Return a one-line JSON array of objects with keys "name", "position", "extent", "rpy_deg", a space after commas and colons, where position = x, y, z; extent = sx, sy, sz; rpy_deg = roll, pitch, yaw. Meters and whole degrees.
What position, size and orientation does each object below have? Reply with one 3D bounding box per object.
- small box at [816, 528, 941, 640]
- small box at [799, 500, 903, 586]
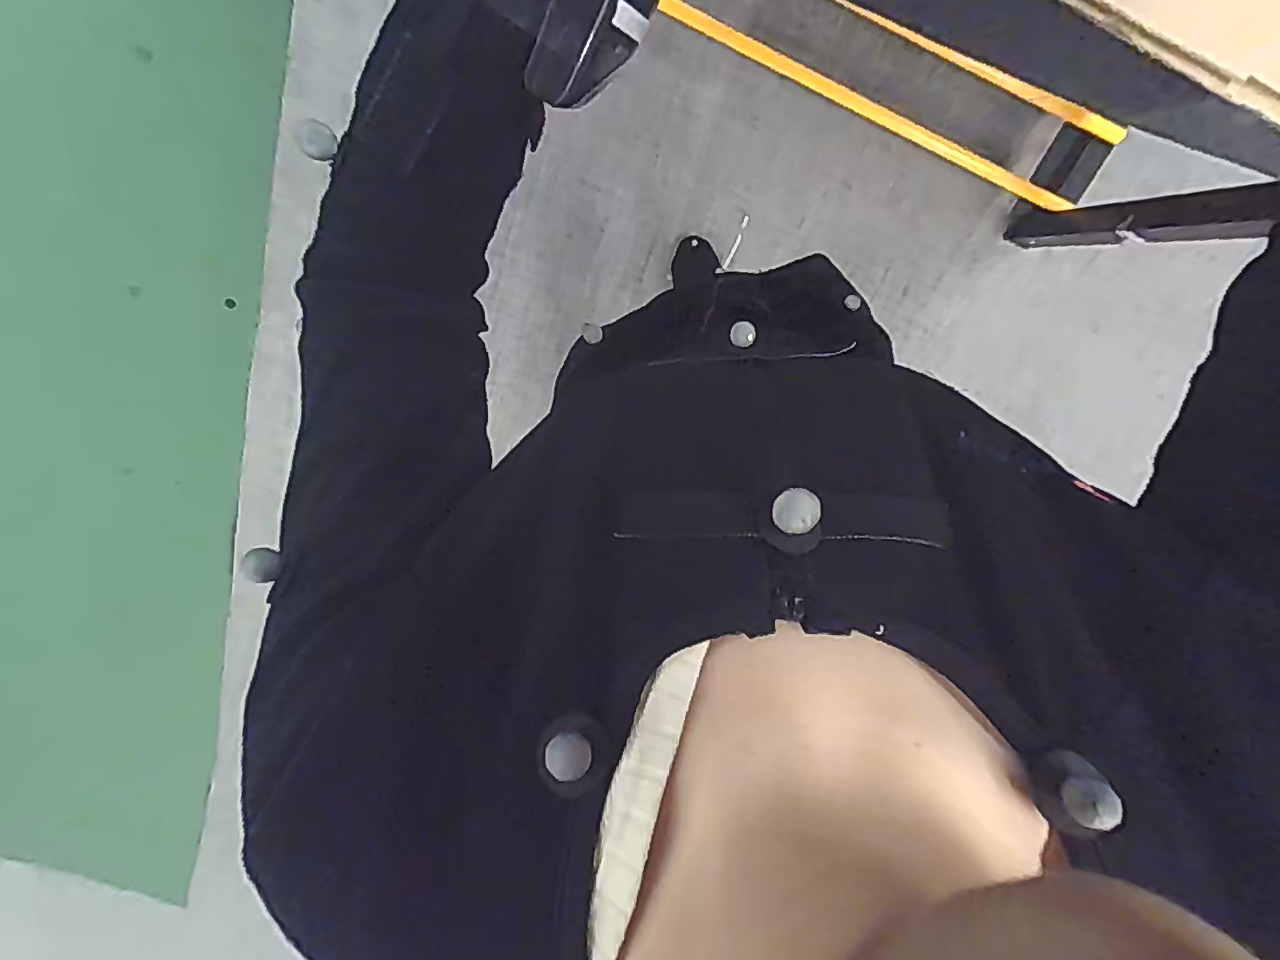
[{"name": "small box", "position": [0.525, 0.227, 1.219], "extent": [0.179, 0.176, 0.168], "rpy_deg": [16, 111, -4]}, {"name": "small box", "position": [0.524, 0.173, 1.375], "extent": [0.168, 0.176, 0.179], "rpy_deg": [16, 111, -4]}]
